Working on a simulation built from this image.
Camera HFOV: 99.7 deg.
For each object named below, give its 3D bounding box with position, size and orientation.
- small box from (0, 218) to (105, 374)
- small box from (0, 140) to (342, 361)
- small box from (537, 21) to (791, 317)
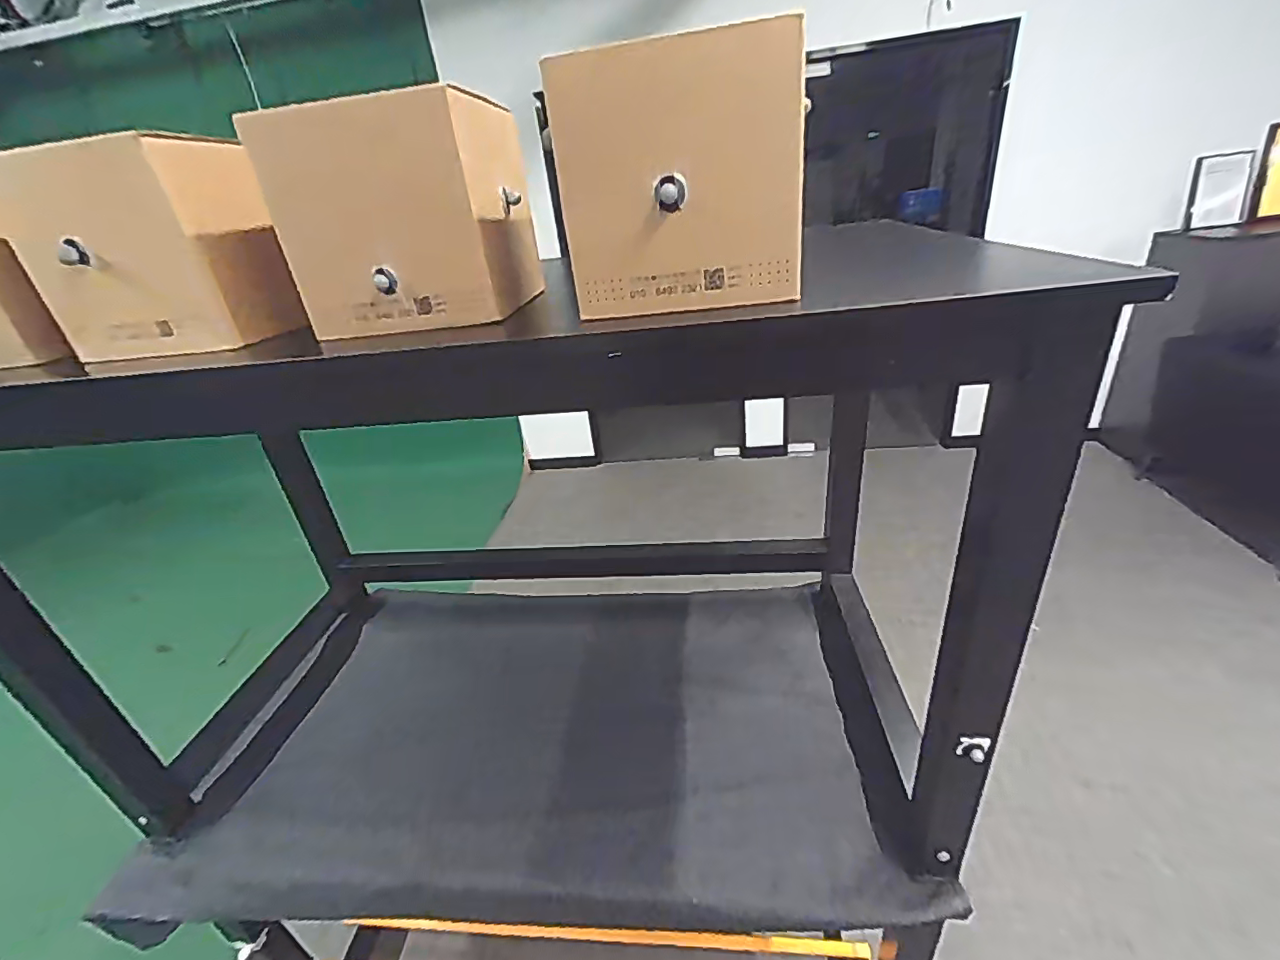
[{"bbox_3d":[-0.655,-0.216,0.577,0.168,0.176,0.179,-2,29,9],"label":"small box"},{"bbox_3d":[-0.434,-0.218,0.532,0.168,0.176,0.179,-3,27,9],"label":"small box"},{"bbox_3d":[0.032,-0.235,0.444,0.168,0.176,0.179,-2,28,9],"label":"small box"}]
